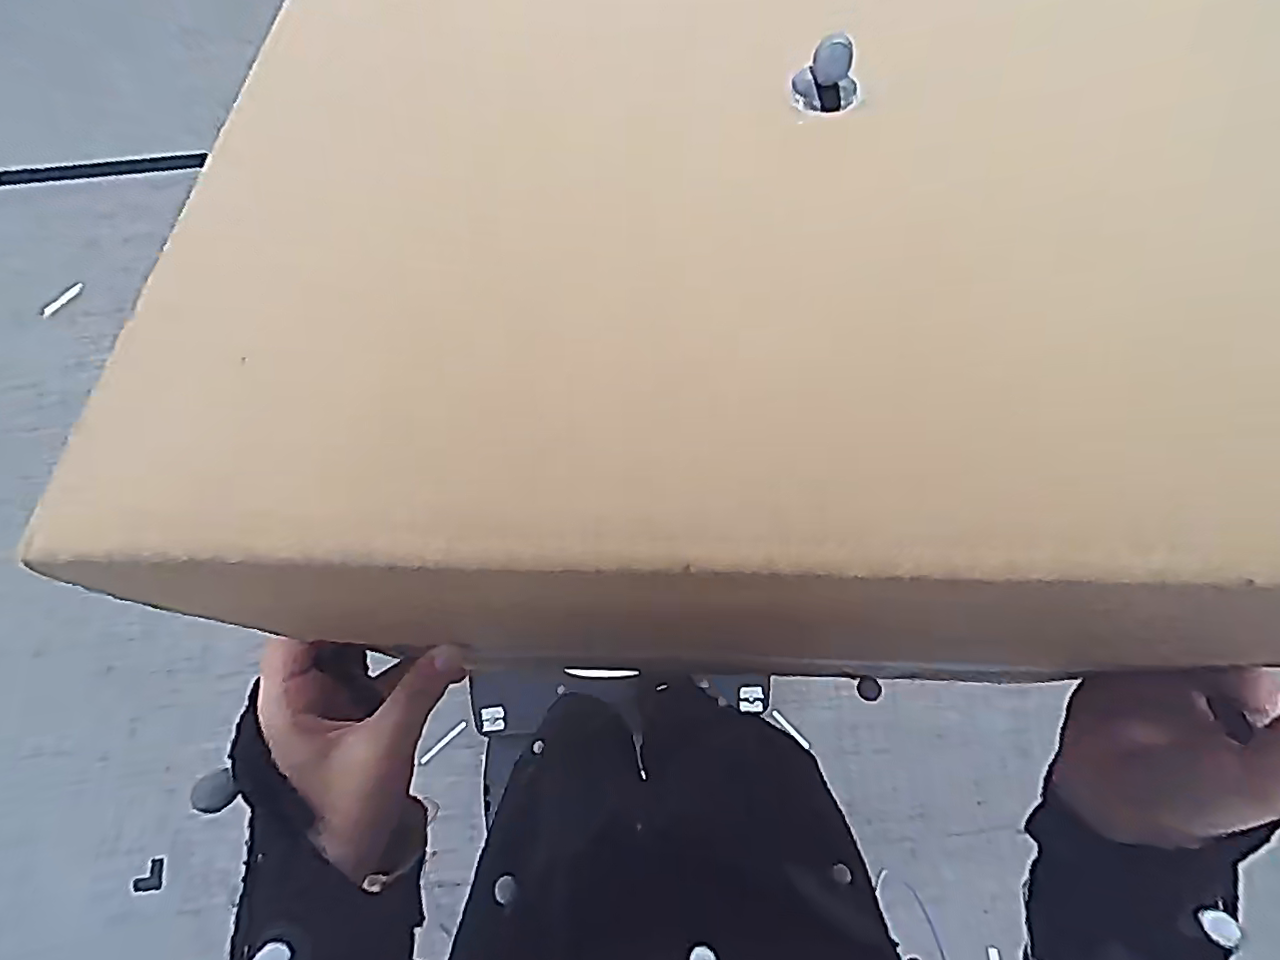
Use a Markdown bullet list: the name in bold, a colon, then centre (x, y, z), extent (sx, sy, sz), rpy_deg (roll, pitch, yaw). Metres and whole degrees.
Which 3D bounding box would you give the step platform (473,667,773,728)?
- **step platform**: centre (-0.037, 0.414, 1.275), extent (0.684, 0.204, 0.286), rpy_deg (0, 81, 0)

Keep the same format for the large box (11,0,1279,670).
- **large box**: centre (0.045, -0.061, 0.317), extent (0.408, 0.320, 0.320), rpy_deg (-1, 68, 1)
